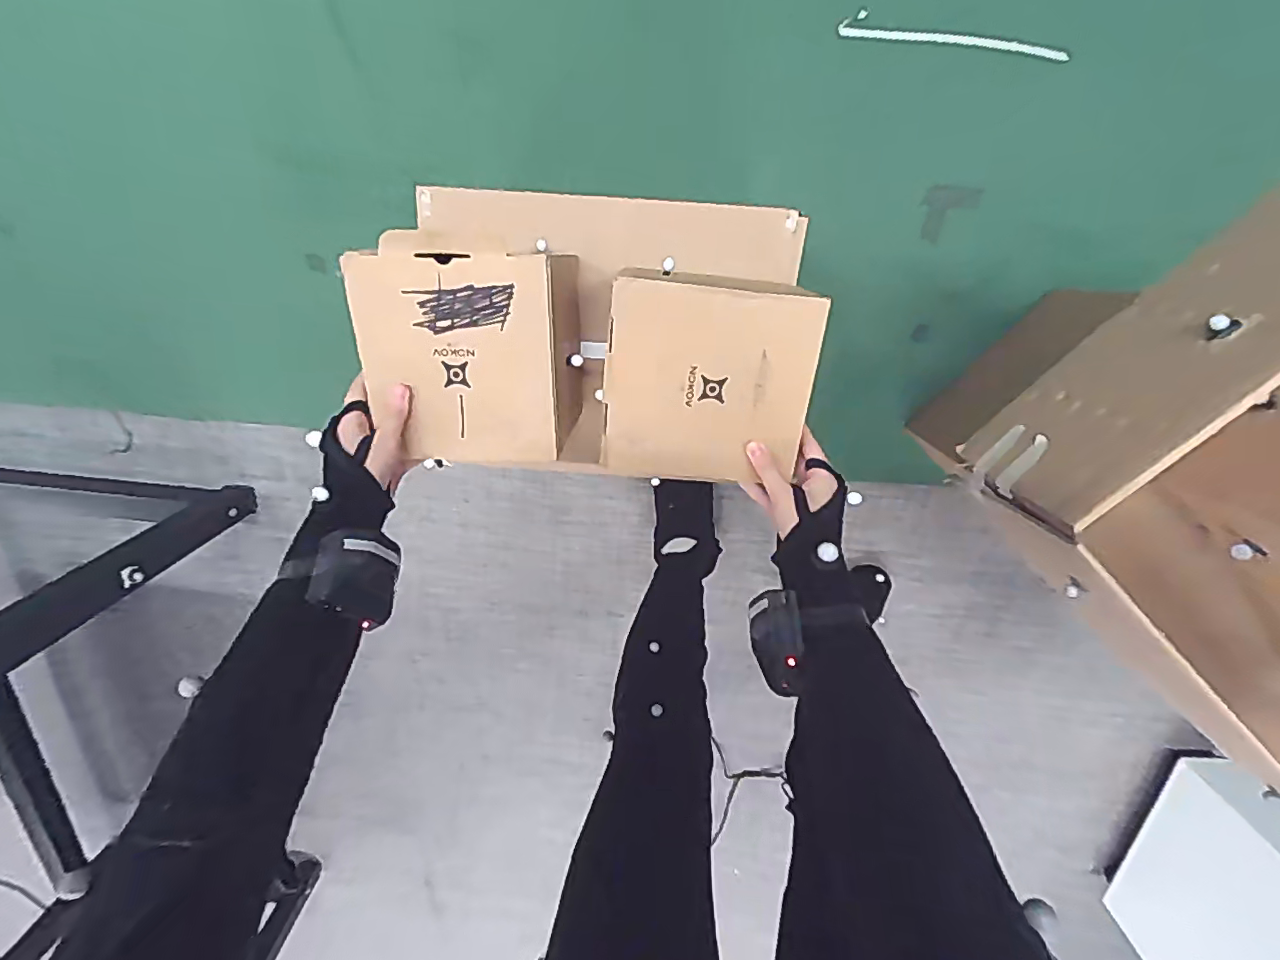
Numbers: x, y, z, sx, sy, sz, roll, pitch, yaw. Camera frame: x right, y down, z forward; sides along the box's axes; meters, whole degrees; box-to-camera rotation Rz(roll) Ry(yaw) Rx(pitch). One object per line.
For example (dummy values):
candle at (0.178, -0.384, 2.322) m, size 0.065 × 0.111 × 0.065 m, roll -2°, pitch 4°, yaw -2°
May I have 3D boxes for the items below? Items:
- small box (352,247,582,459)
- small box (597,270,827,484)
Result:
small box at (-0.151, -0.132, 0.537) m, size 0.168 × 0.176 × 0.179 m, roll 2°, pitch 112°, yaw 2°
small box at (0.059, -0.112, 0.536) m, size 0.179 × 0.176 × 0.168 m, roll 6°, pitch 114°, yaw 0°
